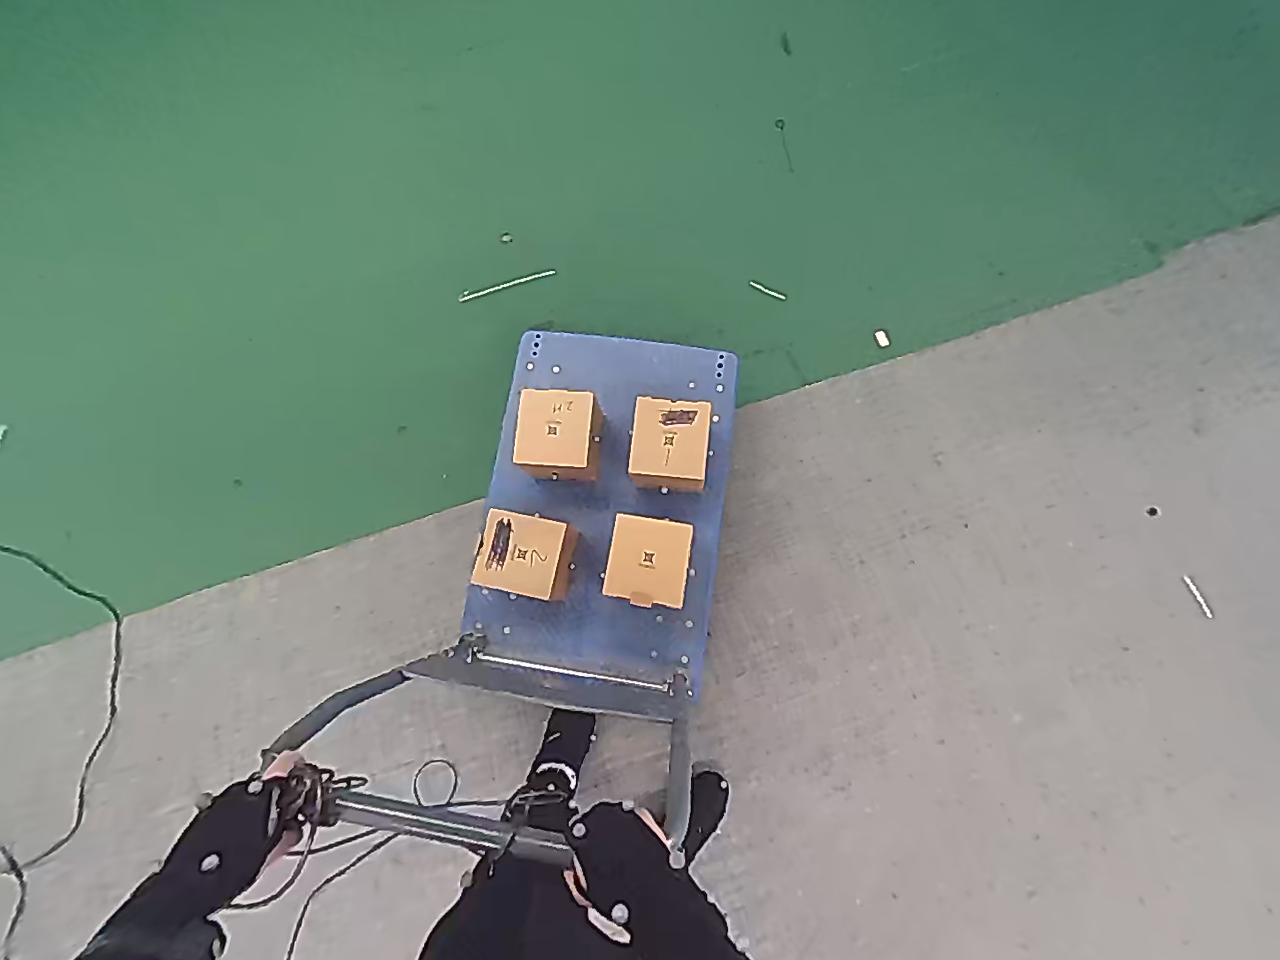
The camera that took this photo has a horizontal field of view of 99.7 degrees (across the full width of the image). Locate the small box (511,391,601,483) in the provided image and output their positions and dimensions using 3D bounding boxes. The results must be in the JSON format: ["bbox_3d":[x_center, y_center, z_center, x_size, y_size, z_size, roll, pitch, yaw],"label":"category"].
[{"bbox_3d":[-0.189,-0.094,1.266,0.168,0.176,0.179,4,79,4],"label":"small box"}]

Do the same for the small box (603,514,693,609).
[{"bbox_3d":[0.021,0.183,1.194,0.168,0.176,0.179,8,80,6],"label":"small box"}]

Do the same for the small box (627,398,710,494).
[{"bbox_3d":[0.066,-0.073,1.242,0.168,0.176,0.179,5,79,6],"label":"small box"}]
